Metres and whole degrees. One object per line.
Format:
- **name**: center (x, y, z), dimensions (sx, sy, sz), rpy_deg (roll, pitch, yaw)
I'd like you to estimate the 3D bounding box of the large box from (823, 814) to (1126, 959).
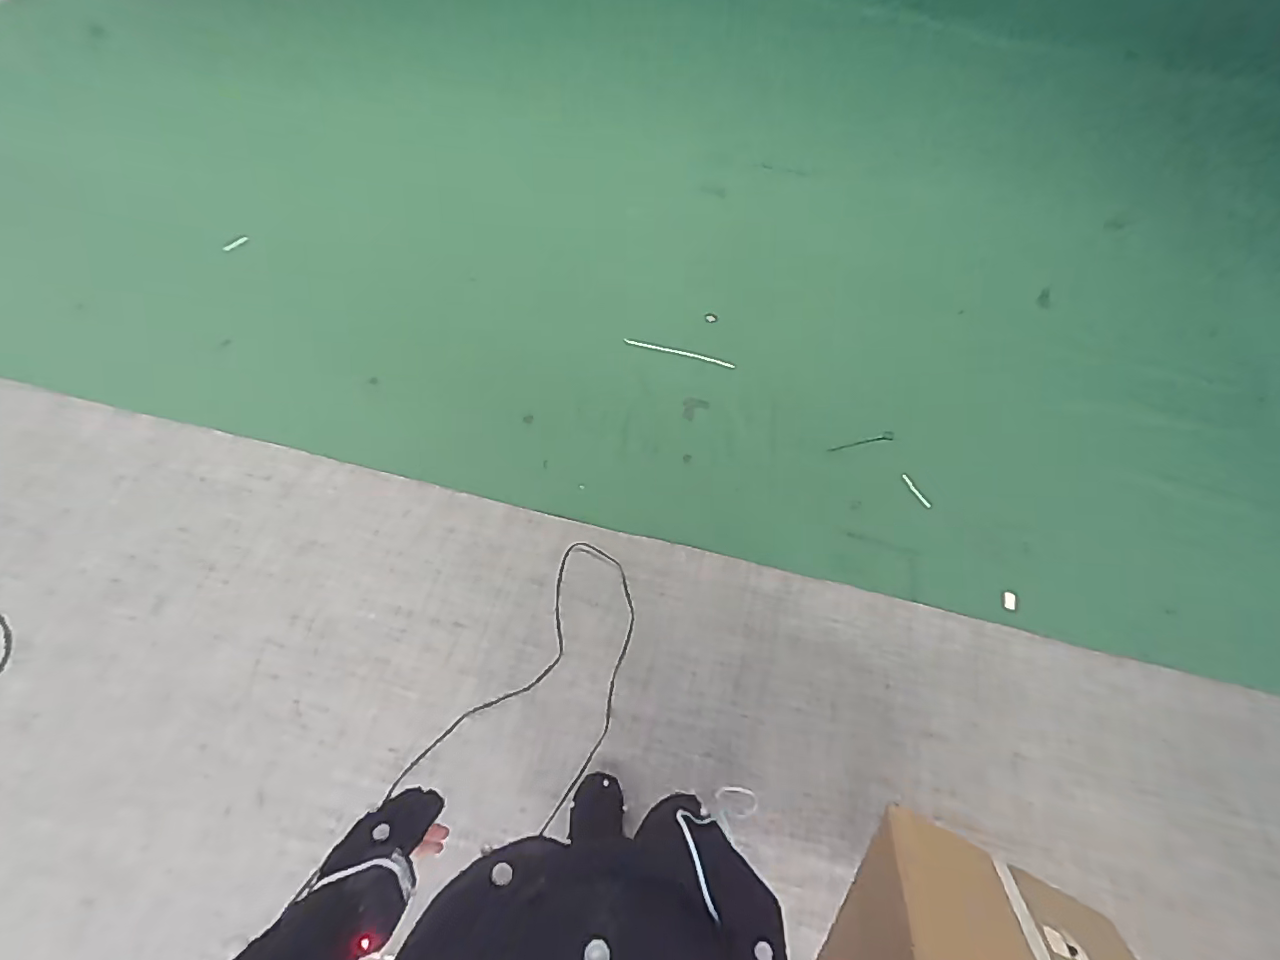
- **large box**: center (0.404, 0.710, 0.623), dimensions (0.320, 0.408, 0.320), rpy_deg (23, 96, 18)
